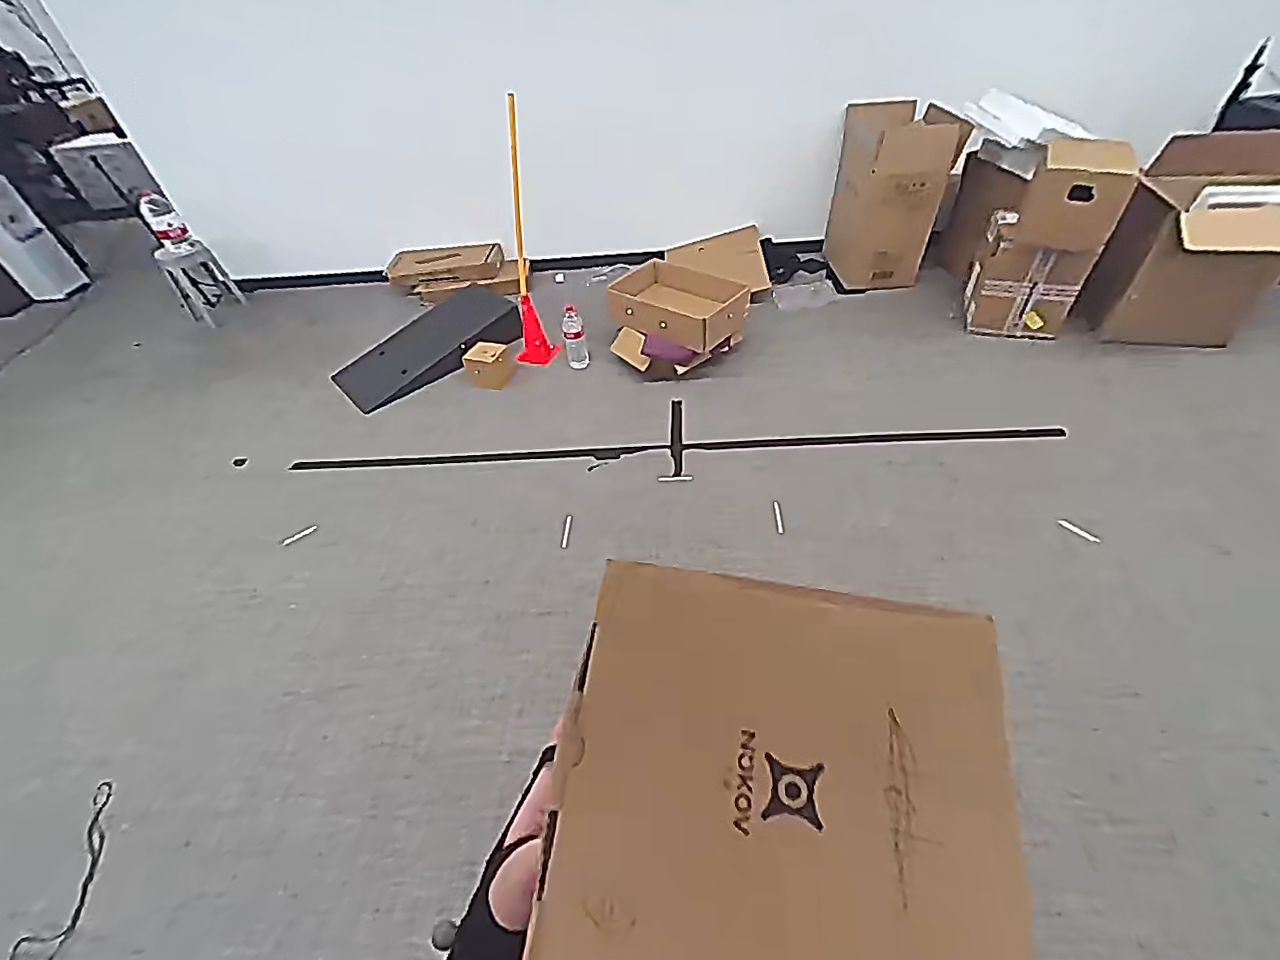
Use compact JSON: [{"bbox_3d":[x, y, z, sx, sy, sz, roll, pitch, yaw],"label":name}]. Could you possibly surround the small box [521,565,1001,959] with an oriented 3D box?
[{"bbox_3d":[0.056,0.160,0.297,0.179,0.176,0.168,8,64,6],"label":"small box"}]
